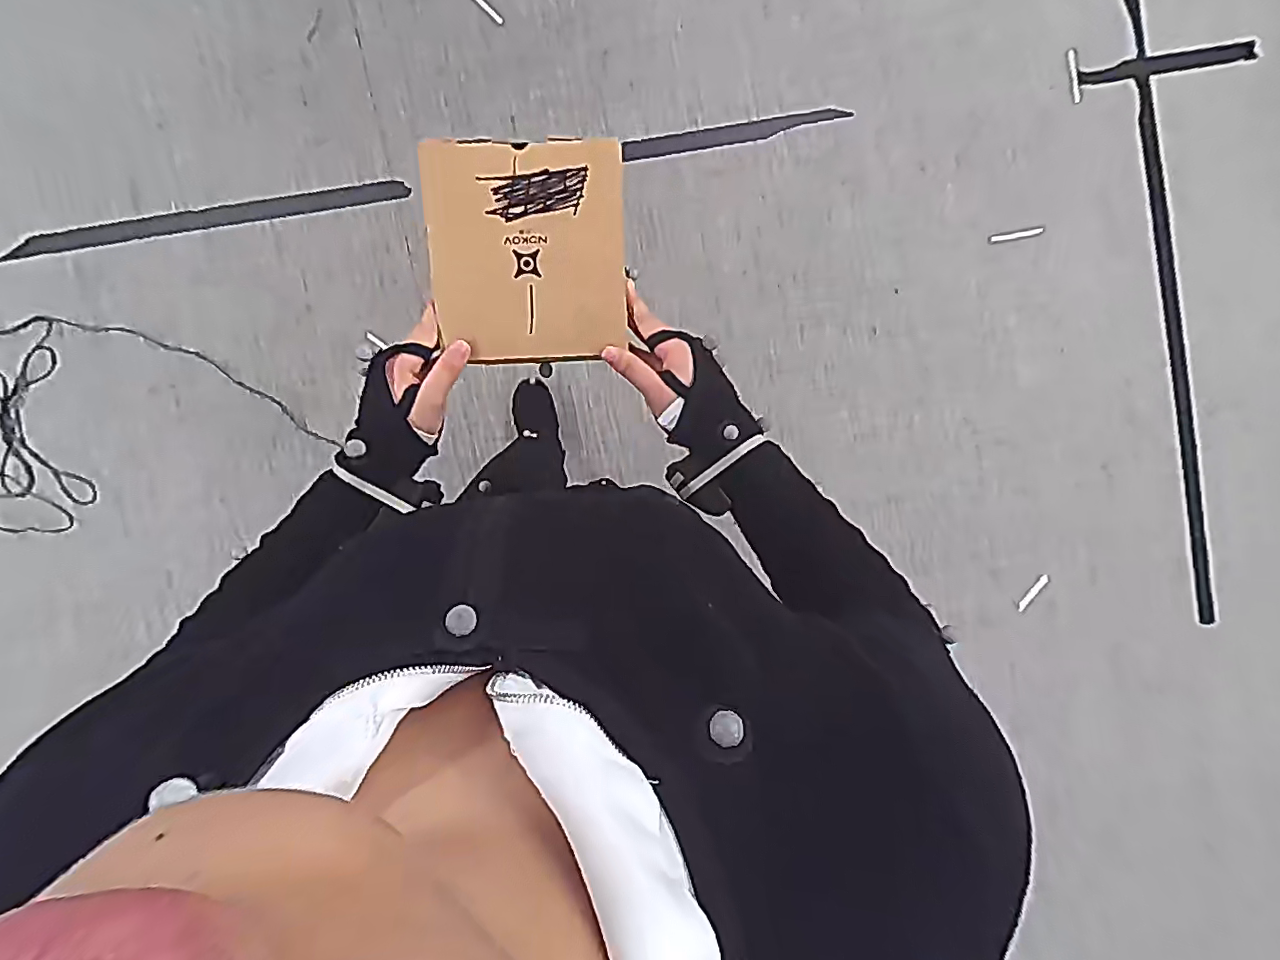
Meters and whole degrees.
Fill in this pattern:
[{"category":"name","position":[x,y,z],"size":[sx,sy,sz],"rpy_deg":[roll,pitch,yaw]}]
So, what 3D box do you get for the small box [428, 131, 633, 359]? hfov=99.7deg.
[{"category":"small box","position":[-0.095,-0.216,0.539],"size":[0.168,0.176,0.179],"rpy_deg":[-3,101,-2]}]
